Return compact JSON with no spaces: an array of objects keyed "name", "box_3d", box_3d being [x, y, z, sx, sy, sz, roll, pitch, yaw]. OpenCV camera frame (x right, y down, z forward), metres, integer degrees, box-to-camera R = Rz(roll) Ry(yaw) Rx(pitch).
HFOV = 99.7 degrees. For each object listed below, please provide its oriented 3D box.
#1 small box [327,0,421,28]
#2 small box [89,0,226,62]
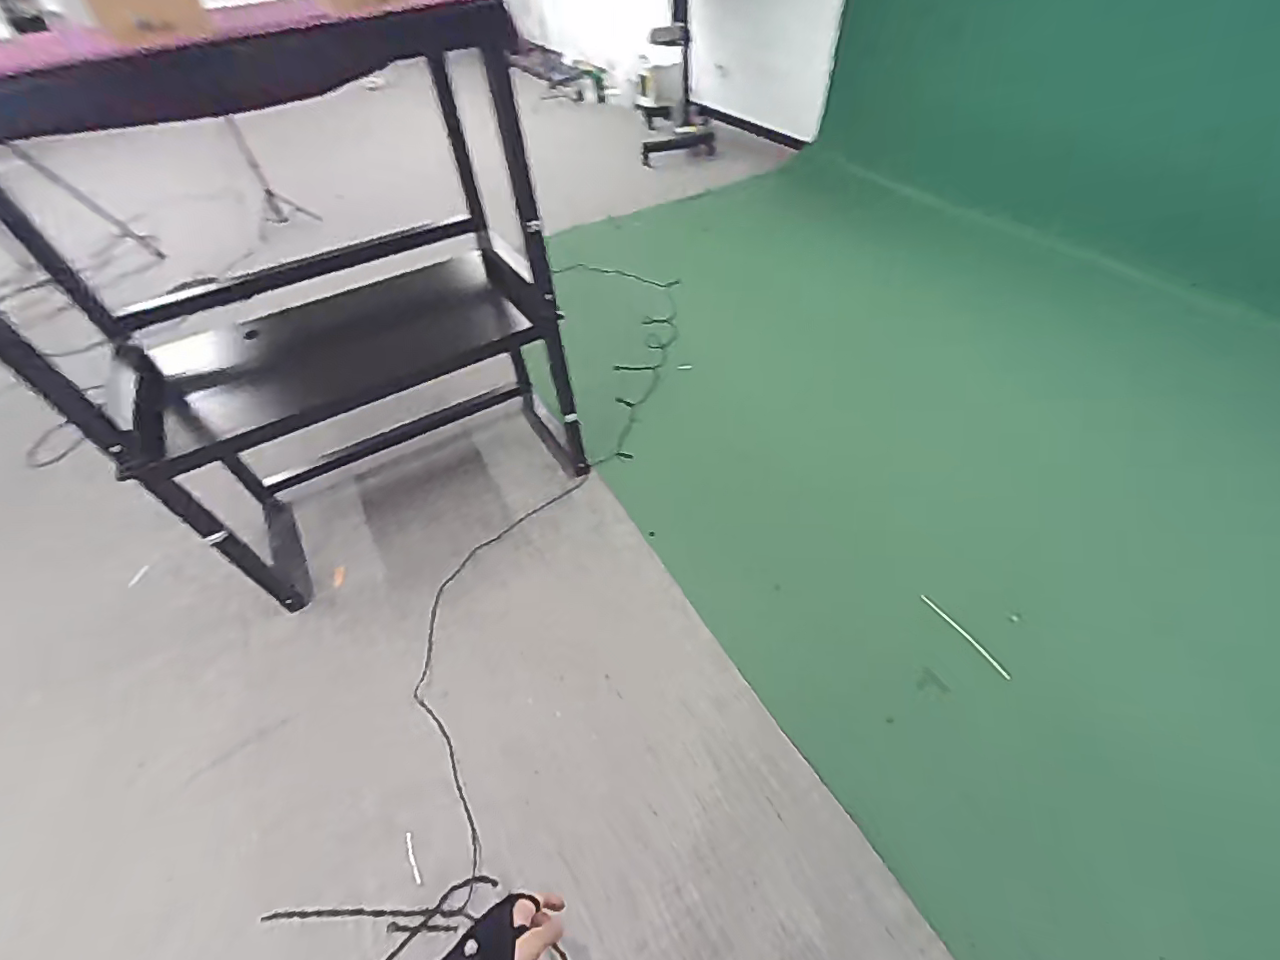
[{"name":"small box","box_3d":[-0.569,-1.044,1.101,0.168,0.176,0.179,-24,50,-14]},{"name":"small box","box_3d":[-0.892,-0.882,0.982,0.168,0.176,0.179,-24,50,-15]}]
